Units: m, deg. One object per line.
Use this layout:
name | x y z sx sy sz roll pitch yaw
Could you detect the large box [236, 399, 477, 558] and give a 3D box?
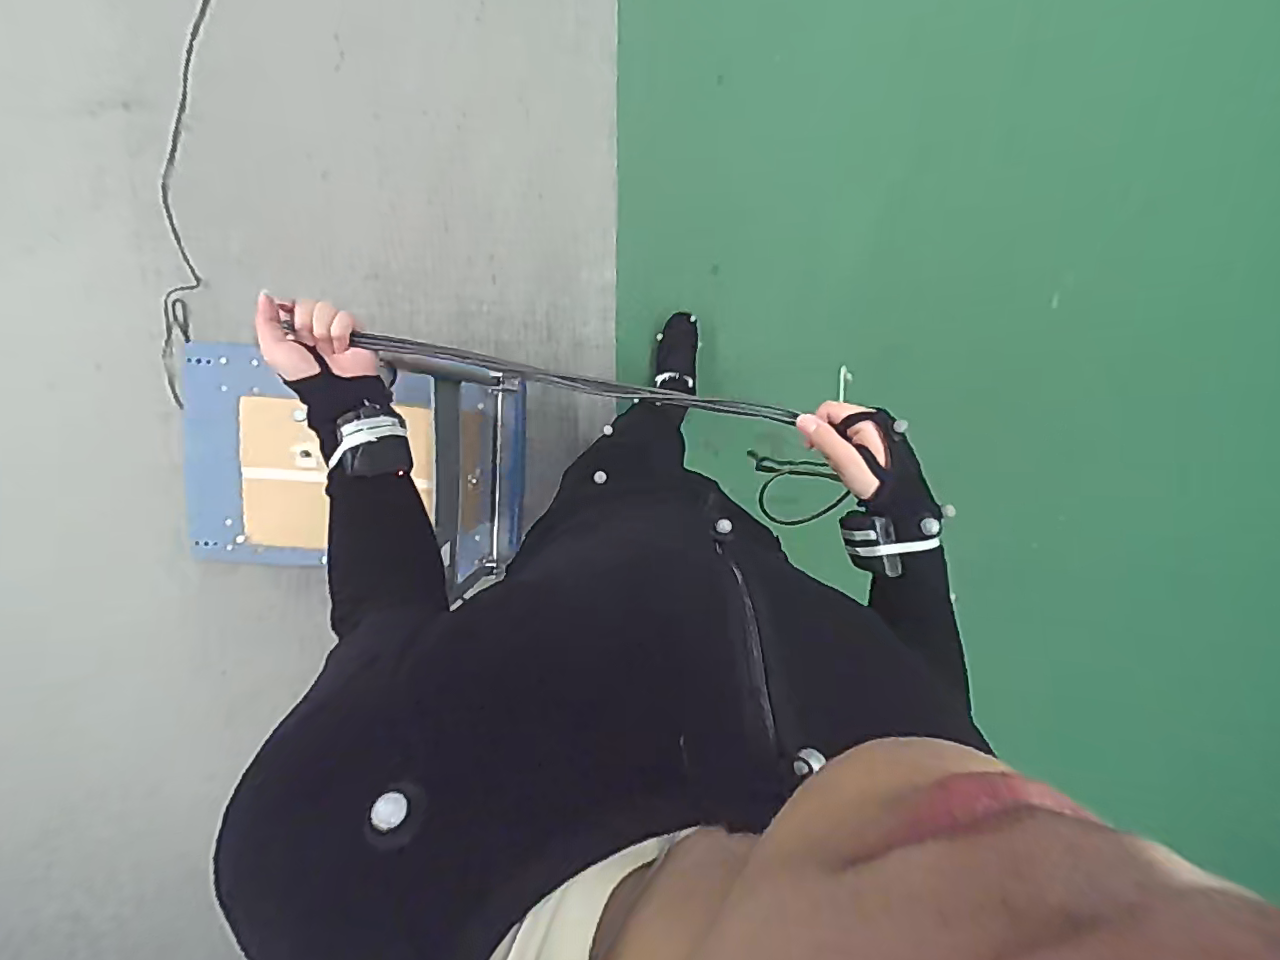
large box | -0.619 -0.020 1.250 0.408 0.320 0.320 4 97 0
